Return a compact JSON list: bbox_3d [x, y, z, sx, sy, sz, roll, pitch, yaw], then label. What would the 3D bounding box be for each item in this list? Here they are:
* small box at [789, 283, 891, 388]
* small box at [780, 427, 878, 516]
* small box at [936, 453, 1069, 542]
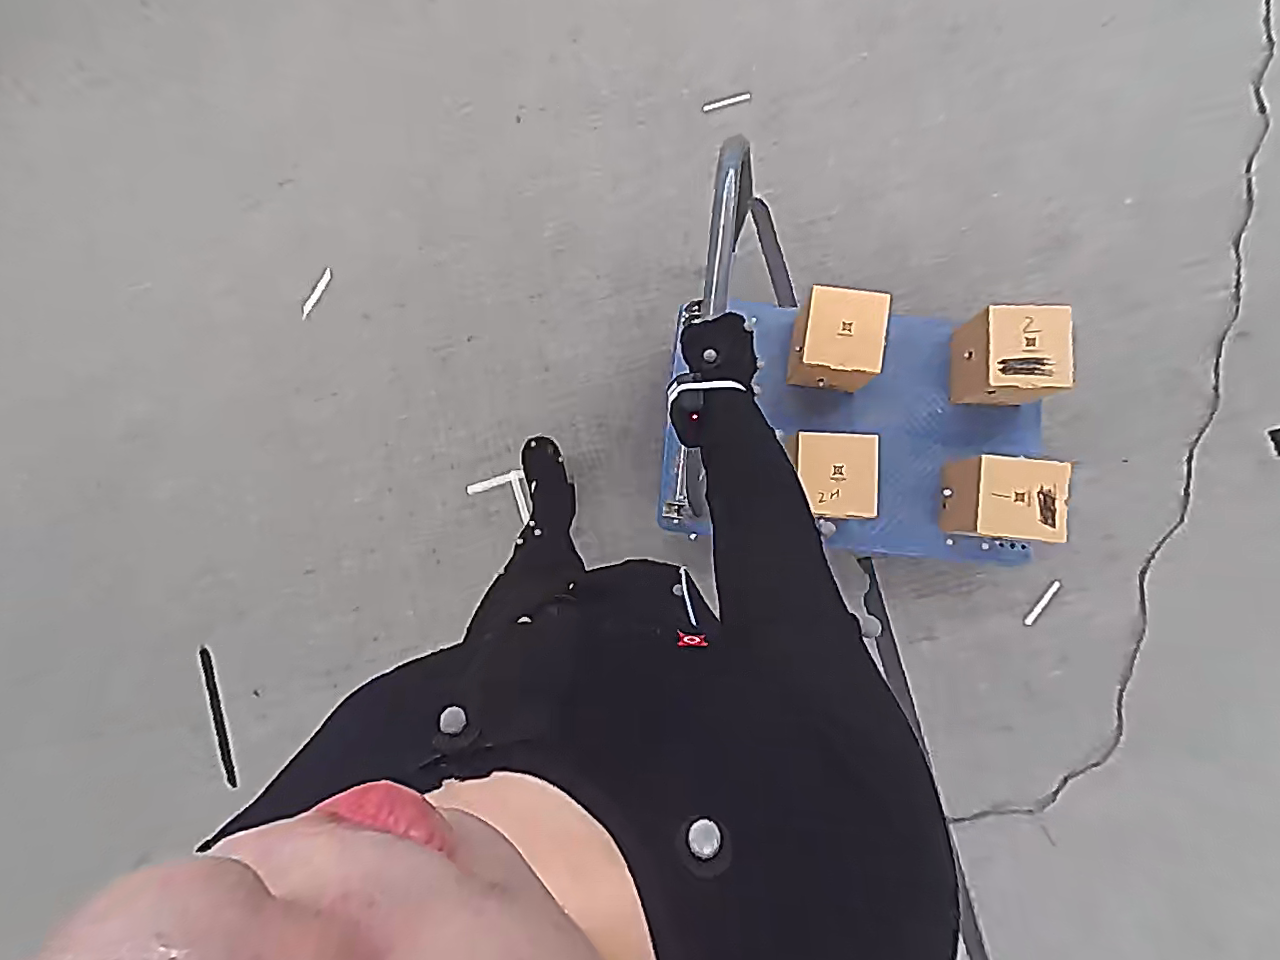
[{"bbox_3d":[0.445,-0.322,1.229,0.168,0.176,0.179,9,88,4],"label":"small box"},{"bbox_3d":[0.414,-0.014,1.208,0.168,0.176,0.179,4,86,4],"label":"small box"},{"bbox_3d":[0.783,0.039,1.181,0.179,0.176,0.168,7,86,5],"label":"small box"}]
